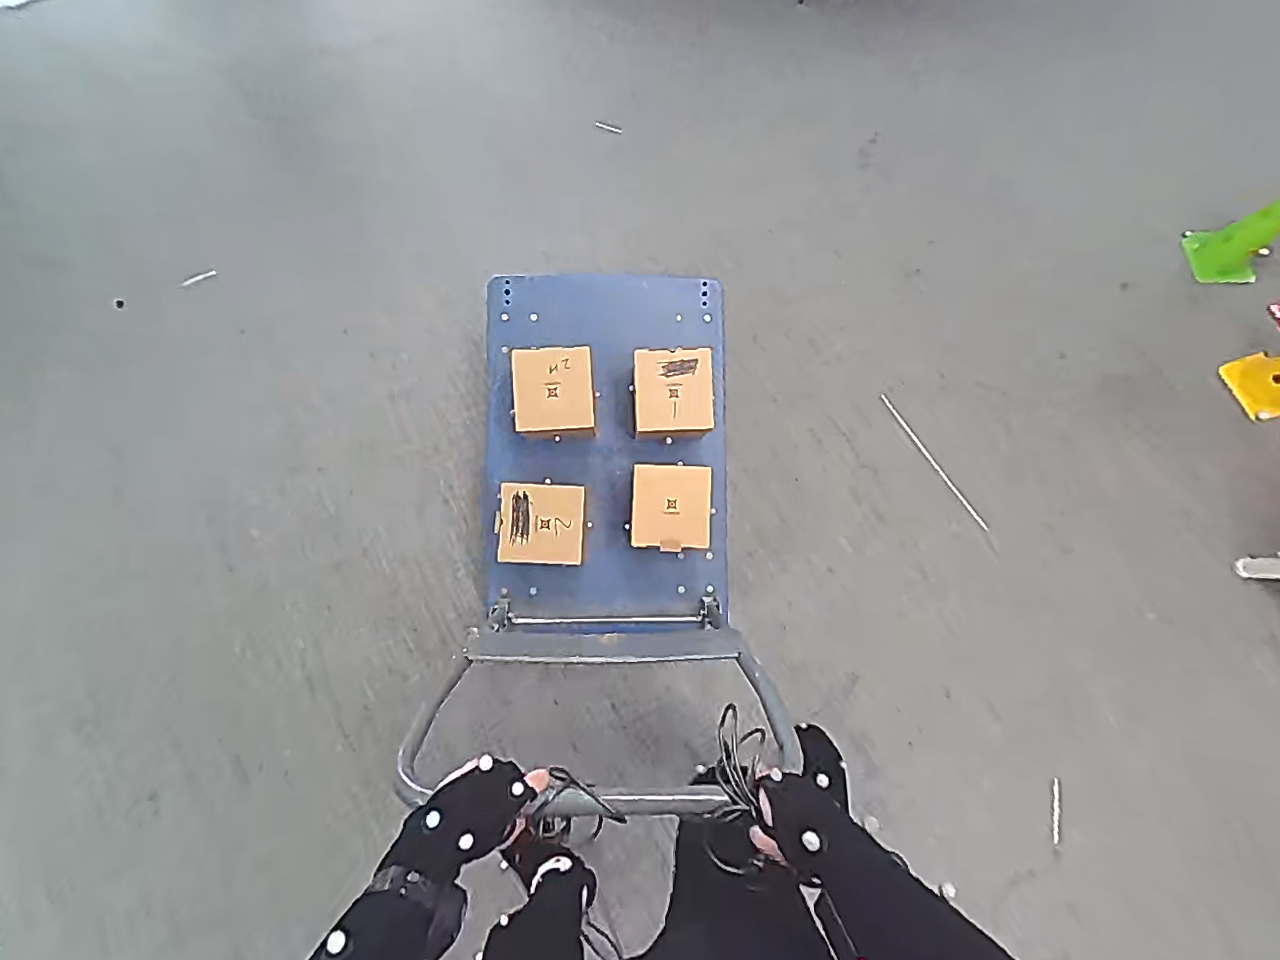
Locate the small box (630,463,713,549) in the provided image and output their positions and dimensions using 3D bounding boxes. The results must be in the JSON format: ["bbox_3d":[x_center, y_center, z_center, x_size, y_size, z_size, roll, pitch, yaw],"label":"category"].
[{"bbox_3d":[0.065,0.058,1.211,0.168,0.176,0.179,3,88,-1],"label":"small box"}]

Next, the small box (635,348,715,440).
[{"bbox_3d":[0.074,-0.188,1.218,0.168,0.176,0.179,-1,88,-1],"label":"small box"}]

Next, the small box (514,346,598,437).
[{"bbox_3d":[-0.182,-0.190,1.213,0.168,0.176,0.179,-2,88,-2],"label":"small box"}]
